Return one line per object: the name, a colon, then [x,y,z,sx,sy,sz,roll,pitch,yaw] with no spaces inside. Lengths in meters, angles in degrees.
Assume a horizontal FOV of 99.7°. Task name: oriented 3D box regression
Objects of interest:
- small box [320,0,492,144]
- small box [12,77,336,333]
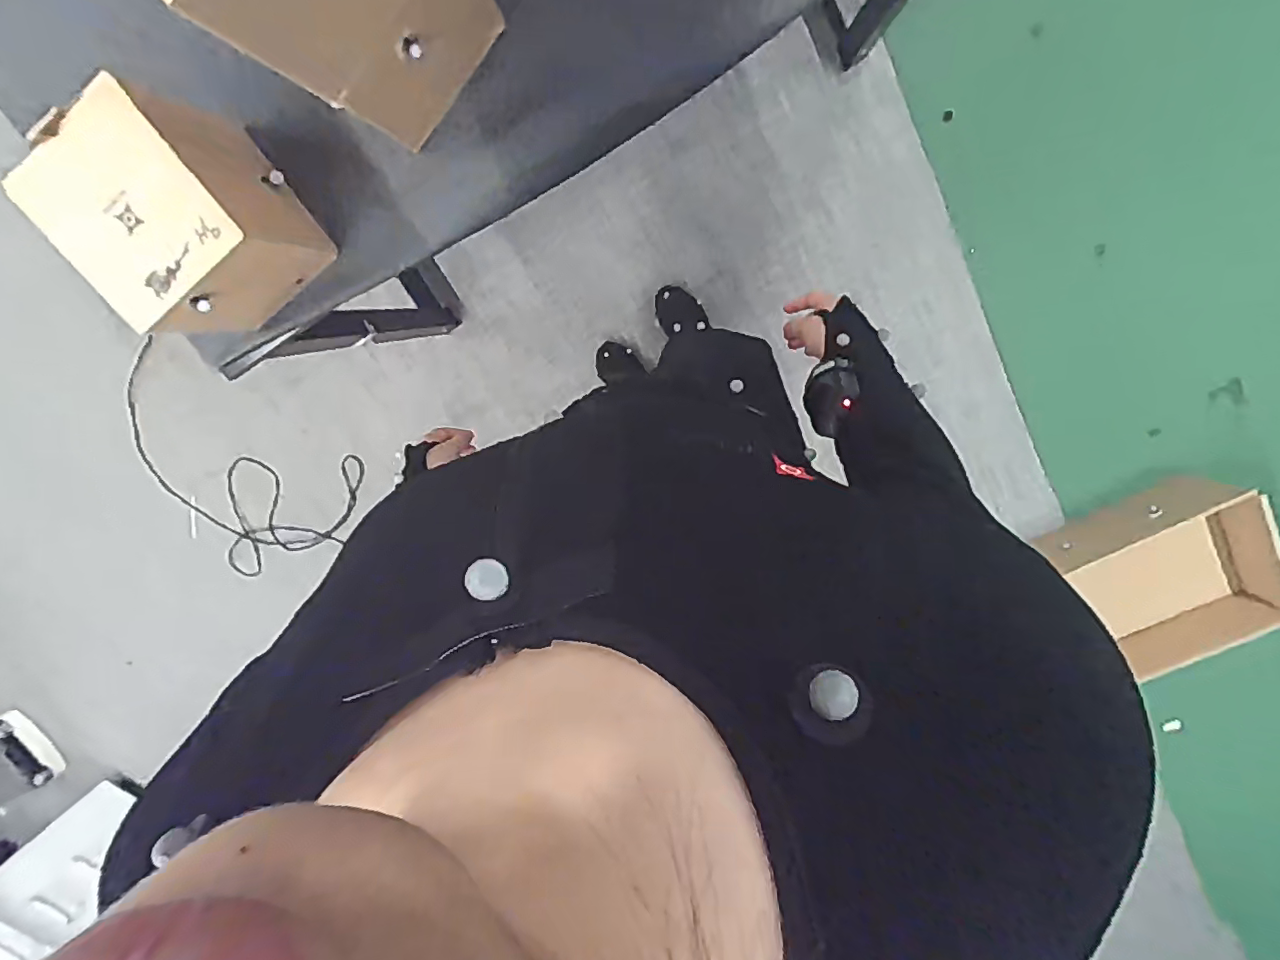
small box: [-0.275,-0.478,0.534,0.168,0.176,0.179,42,105,-11]
small box: [-0.497,-0.285,0.607,0.168,0.176,0.179,-34,103,12]
